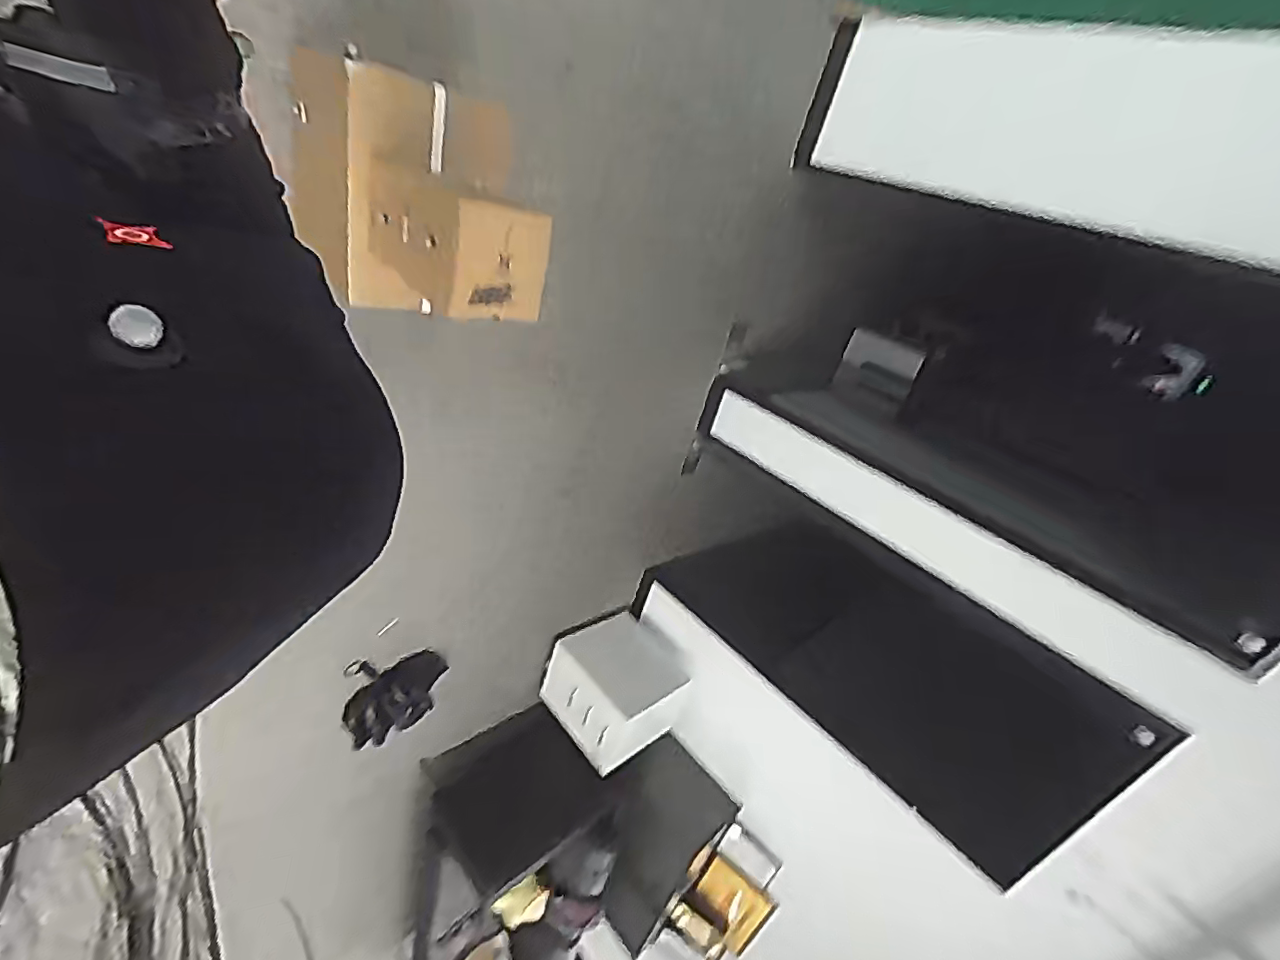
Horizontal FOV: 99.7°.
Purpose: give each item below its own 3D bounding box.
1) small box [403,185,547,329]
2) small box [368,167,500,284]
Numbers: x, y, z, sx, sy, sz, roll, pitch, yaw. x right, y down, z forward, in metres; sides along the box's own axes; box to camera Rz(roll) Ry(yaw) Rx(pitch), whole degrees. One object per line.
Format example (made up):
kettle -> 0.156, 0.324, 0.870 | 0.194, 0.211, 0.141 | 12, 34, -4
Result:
small box -> -0.283, -0.369, 0.908 | 0.168, 0.176, 0.179 | -16, 133, -42
small box -> -0.386, -0.462, 0.998 | 0.179, 0.176, 0.168 | -14, 131, -43
